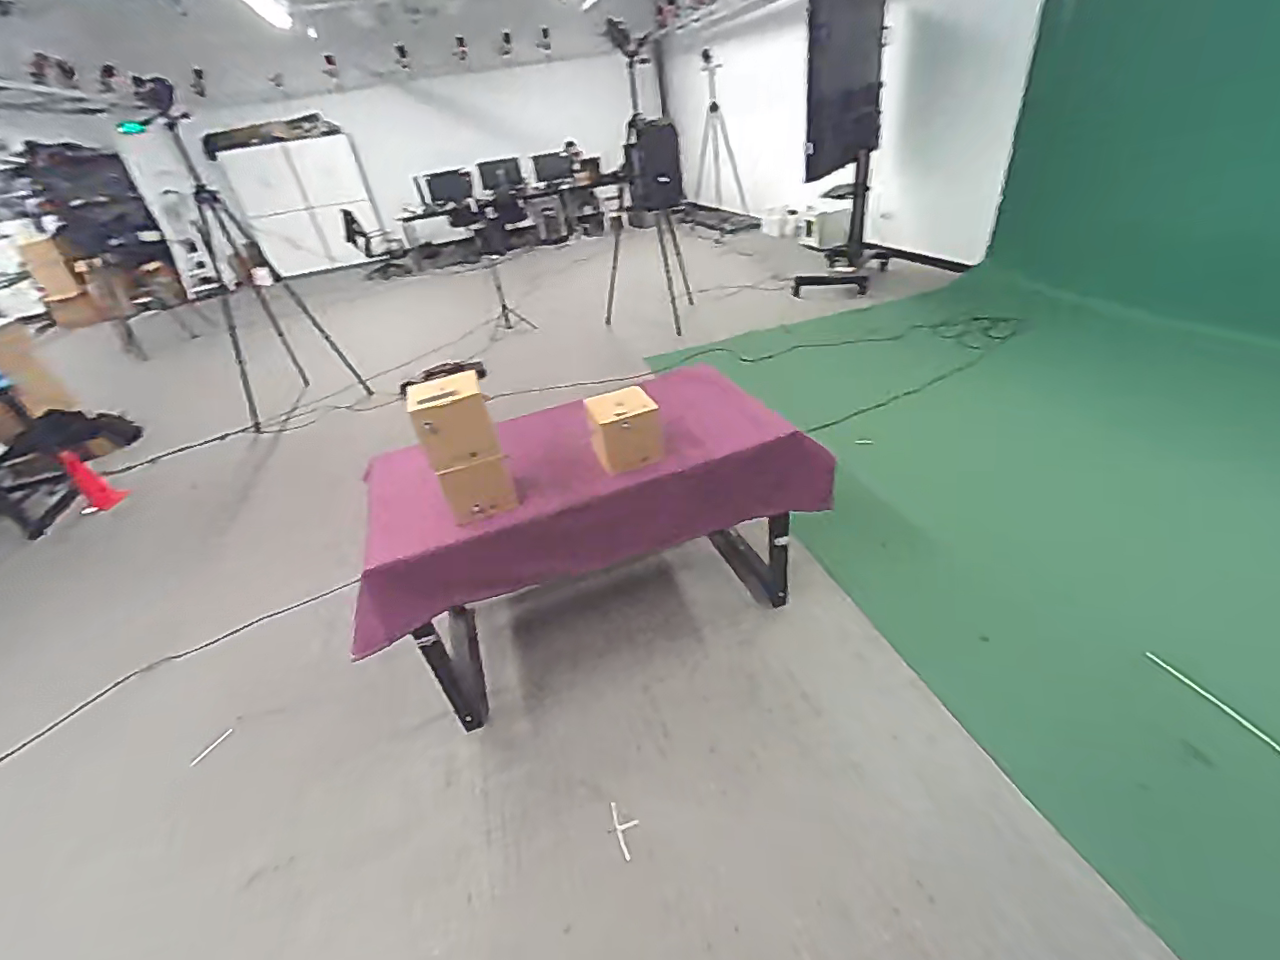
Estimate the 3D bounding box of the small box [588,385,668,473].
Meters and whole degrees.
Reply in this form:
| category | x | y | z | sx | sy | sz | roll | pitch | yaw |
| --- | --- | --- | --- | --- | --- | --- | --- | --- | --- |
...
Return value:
| category | x | y | z | sx | sy | sz | roll | pitch | yaw |
| --- | --- | --- | --- | --- | --- | --- | --- | --- | --- |
| small box | -0.034 | -0.145 | 1.526 | 0.168 | 0.176 | 0.179 | -19 | 34 | -12 |

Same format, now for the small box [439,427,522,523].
| category | x | y | z | sx | sy | sz | roll | pitch | yaw |
| --- | --- | --- | --- | --- | --- | --- | --- | --- | --- |
| small box | -0.423 | -0.015 | 1.433 | 0.168 | 0.176 | 0.179 | -18 | 36 | -11 |
